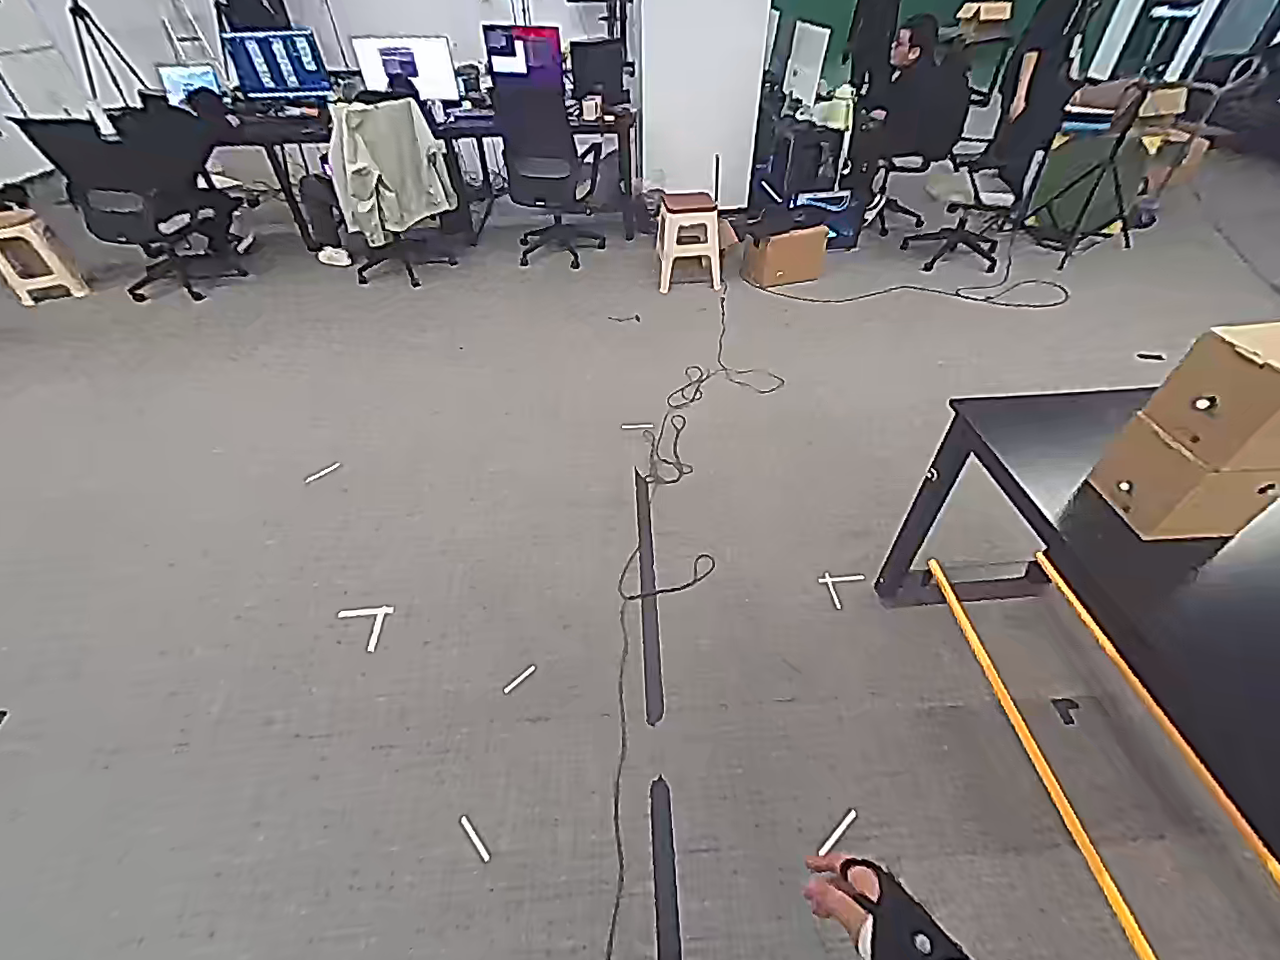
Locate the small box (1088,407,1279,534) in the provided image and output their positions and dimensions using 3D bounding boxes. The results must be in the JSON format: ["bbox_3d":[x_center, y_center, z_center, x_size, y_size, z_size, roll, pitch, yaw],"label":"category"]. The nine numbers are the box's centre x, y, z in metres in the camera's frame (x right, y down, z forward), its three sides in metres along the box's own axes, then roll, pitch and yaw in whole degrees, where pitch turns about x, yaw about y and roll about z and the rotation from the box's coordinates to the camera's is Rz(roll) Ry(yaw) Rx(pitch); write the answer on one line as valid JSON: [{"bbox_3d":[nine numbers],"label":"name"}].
[{"bbox_3d":[0.978,-0.017,0.973,0.179,0.176,0.168,-3,44,-1],"label":"small box"}]

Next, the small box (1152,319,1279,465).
[{"bbox_3d":[0.984,-0.138,0.862,0.179,0.176,0.168,-5,44,-3],"label":"small box"}]
